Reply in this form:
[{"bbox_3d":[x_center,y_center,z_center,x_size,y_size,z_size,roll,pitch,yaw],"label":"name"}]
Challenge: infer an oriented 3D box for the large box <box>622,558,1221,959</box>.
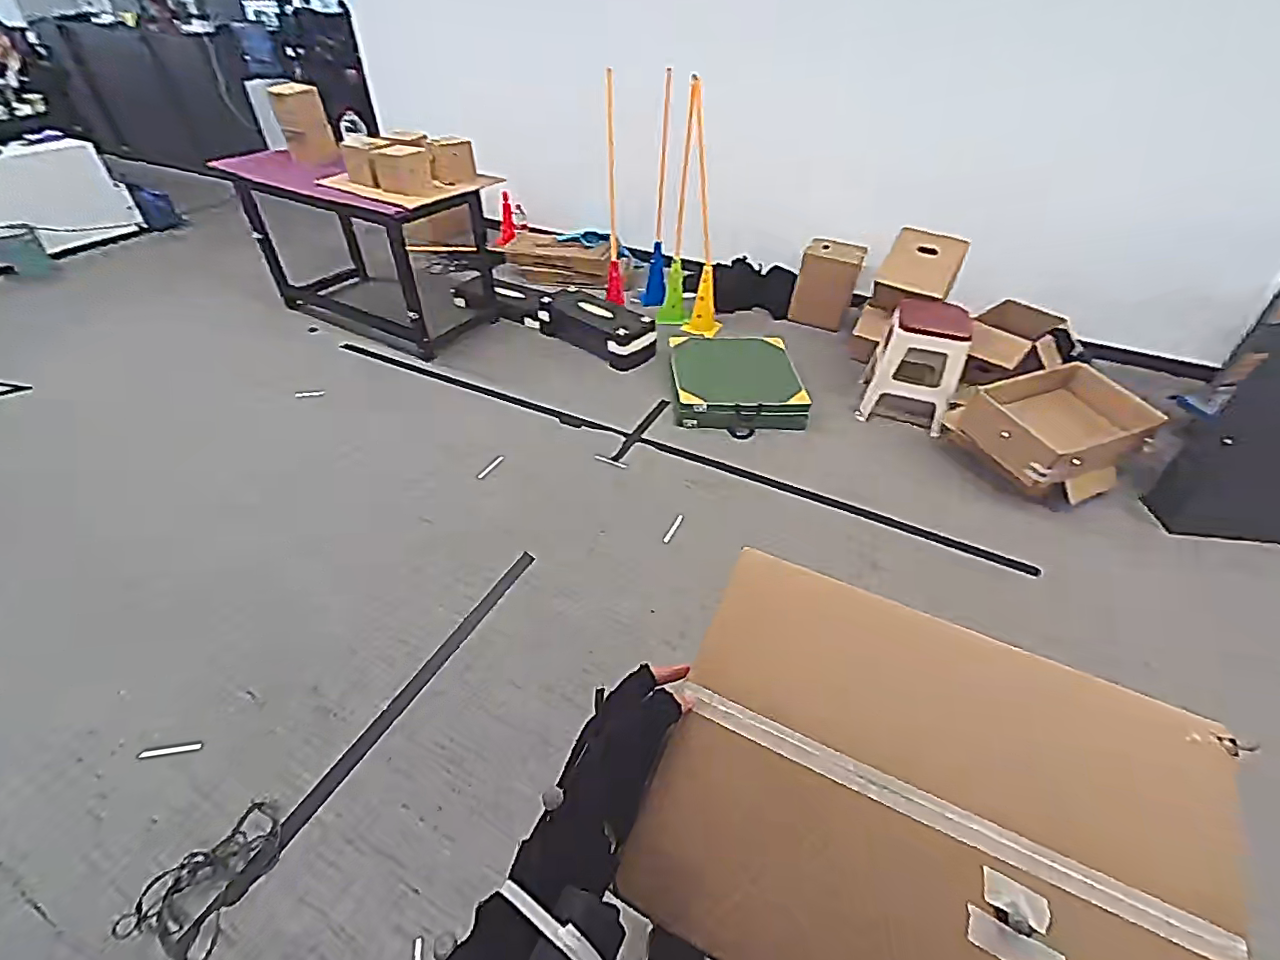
[{"bbox_3d":[0.235,0.339,0.559,0.408,0.320,0.320,20,62,18],"label":"large box"}]
